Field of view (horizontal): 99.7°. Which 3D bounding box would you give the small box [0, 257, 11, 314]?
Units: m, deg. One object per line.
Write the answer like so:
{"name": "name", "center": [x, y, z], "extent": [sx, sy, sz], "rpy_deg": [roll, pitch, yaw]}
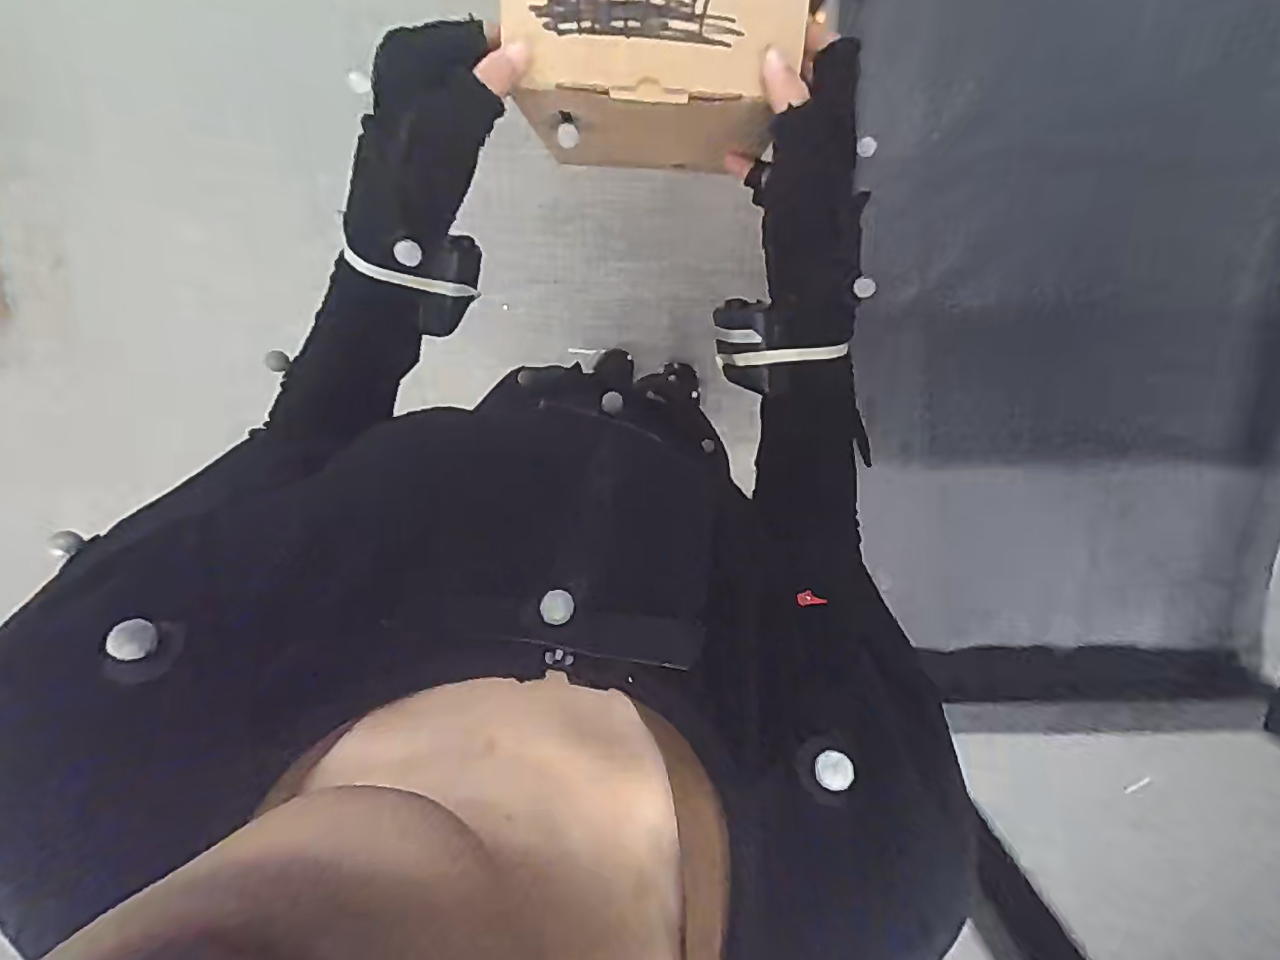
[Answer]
{"name": "small box", "center": [-1.728, -0.496, 1.320], "extent": [0.179, 0.176, 0.168], "rpy_deg": [1, 104, 0]}
